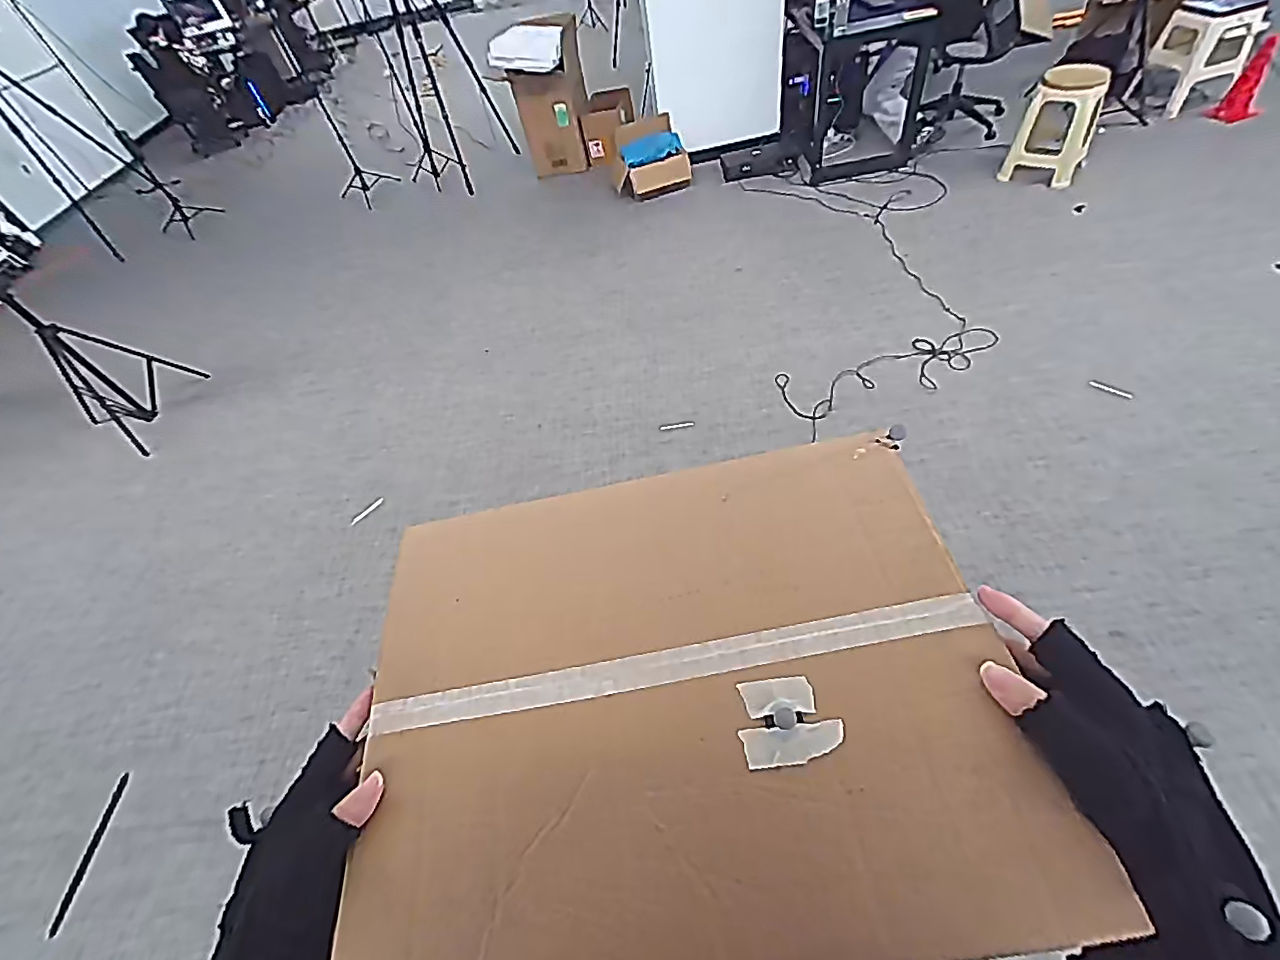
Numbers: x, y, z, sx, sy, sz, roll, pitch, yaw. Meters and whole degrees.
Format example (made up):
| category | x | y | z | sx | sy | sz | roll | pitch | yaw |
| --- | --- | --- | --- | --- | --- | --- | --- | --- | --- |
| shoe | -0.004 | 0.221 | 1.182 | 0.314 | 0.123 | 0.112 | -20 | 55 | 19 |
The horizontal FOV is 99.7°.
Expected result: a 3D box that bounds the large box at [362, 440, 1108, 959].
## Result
| category | x | y | z | sx | sy | sz | roll | pitch | yaw |
| --- | --- | --- | --- | --- | --- | --- | --- | --- | --- |
| large box | 0.046 | 0.214 | 0.485 | 0.408 | 0.320 | 0.320 | -11 | 53 | 4 |
